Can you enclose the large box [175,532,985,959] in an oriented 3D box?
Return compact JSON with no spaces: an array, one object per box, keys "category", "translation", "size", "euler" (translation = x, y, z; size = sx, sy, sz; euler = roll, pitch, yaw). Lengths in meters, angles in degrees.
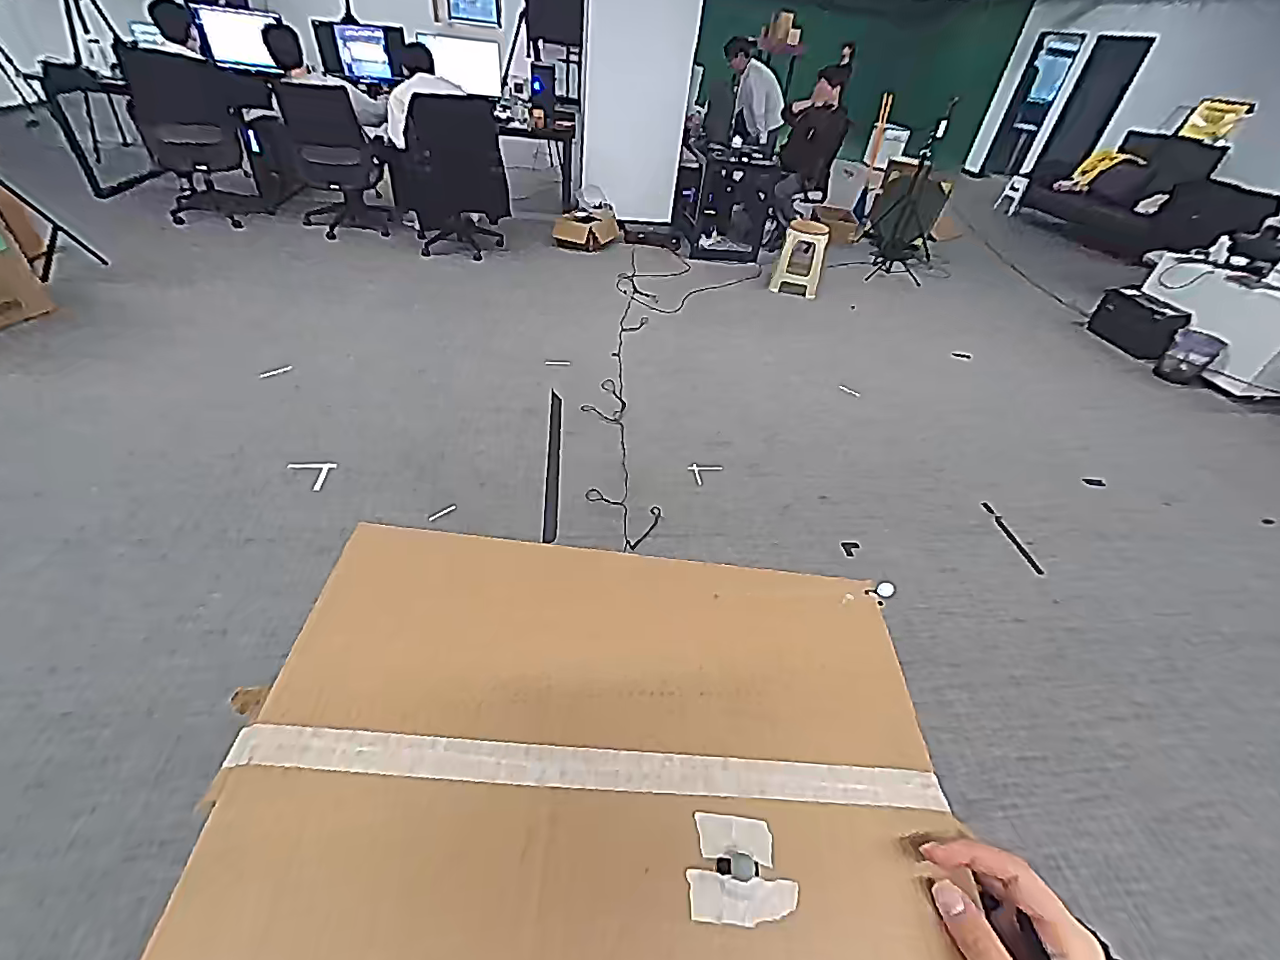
[{"category":"large box","translation":[-0.037,0.274,0.429],"size":[0.408,0.320,0.320],"euler":[8,46,-6]}]
